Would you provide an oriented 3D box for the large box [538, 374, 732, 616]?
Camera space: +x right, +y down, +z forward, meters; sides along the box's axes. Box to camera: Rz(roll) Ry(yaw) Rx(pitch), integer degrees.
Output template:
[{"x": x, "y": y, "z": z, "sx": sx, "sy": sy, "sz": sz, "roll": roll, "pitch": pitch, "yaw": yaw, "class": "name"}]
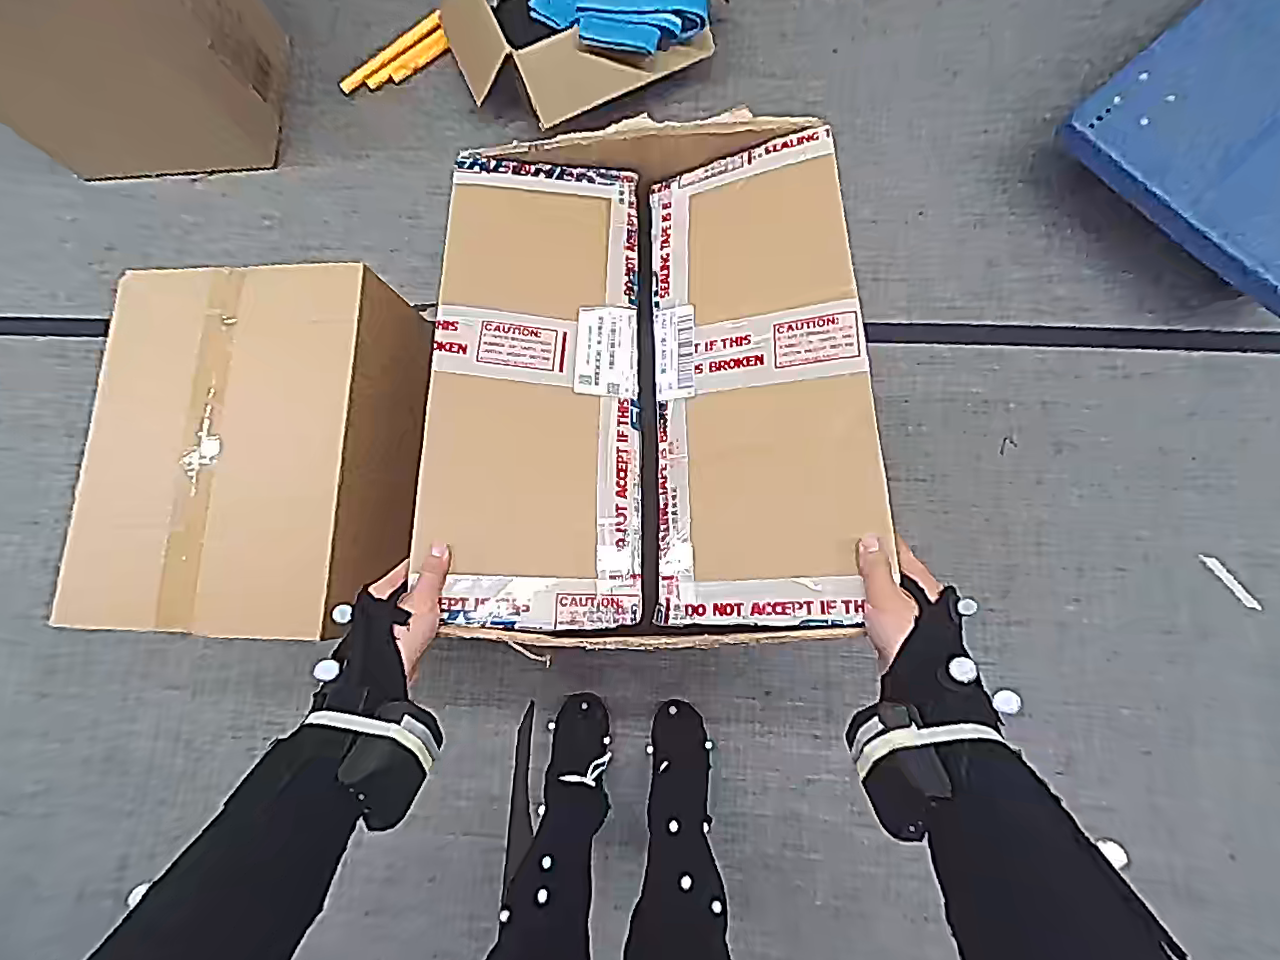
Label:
[{"x": -0.003, "y": 0.040, "z": 1.029, "sx": 0.320, "sy": 0.320, "sz": 0.408, "roll": 1, "pitch": 80, "yaw": 3, "class": "large box"}]
